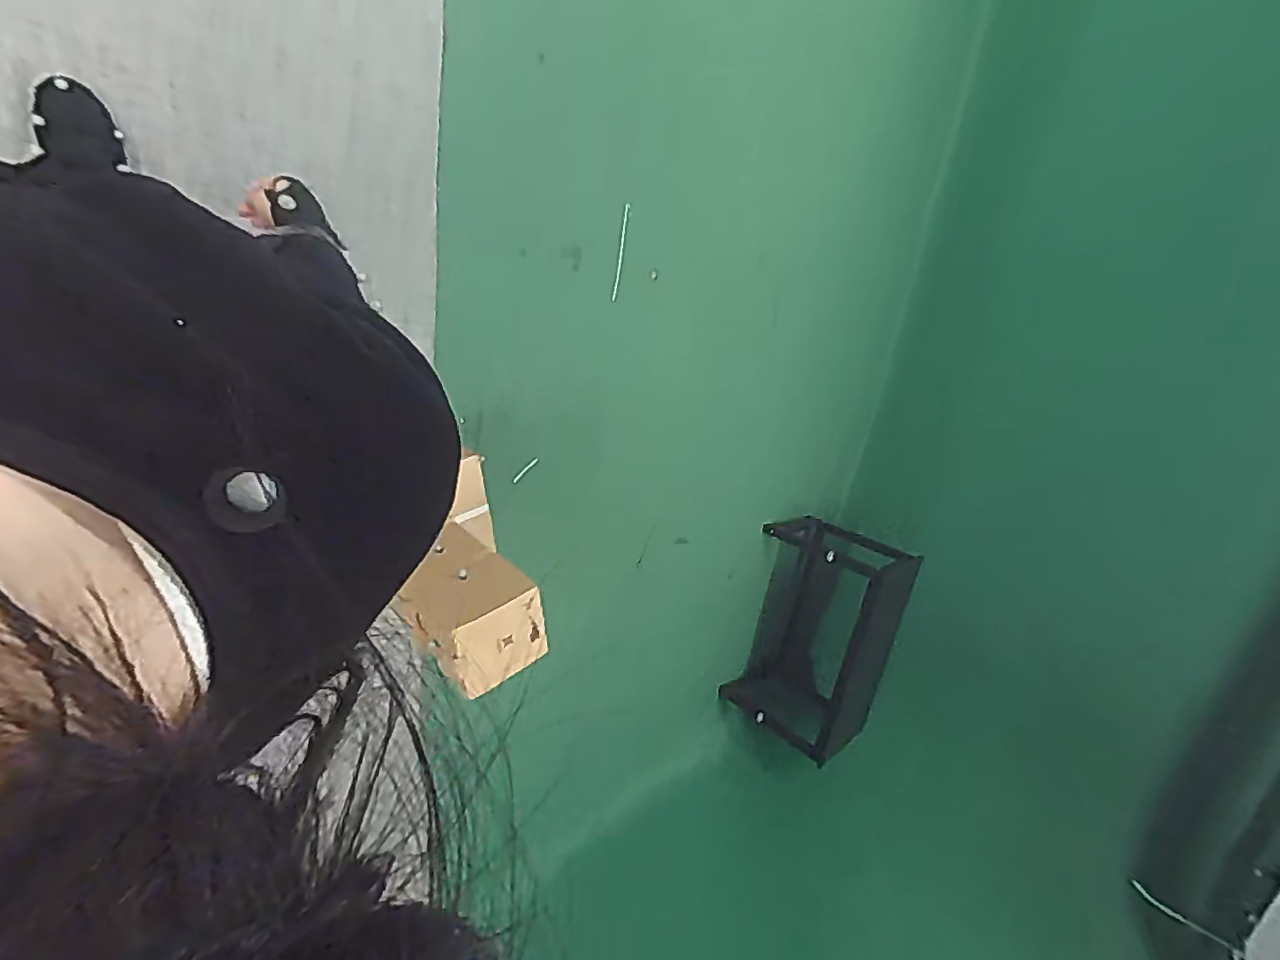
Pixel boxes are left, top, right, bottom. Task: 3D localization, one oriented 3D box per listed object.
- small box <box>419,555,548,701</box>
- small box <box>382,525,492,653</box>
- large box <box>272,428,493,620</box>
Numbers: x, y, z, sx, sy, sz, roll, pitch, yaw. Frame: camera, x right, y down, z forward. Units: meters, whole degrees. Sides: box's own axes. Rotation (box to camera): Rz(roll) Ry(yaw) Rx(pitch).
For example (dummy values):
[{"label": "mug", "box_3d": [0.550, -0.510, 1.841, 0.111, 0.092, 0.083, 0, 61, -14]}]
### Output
[{"label": "small box", "box_3d": [-0.300, 0.270, 1.025, 0.179, 0.176, 0.168, -23, 124, -36]}, {"label": "small box", "box_3d": [-0.416, 0.219, 1.130, 0.179, 0.176, 0.168, -25, 125, -37]}, {"label": "large box", "box_3d": [-0.664, 0.088, 1.430, 0.408, 0.320, 0.320, -26, 126, -38]}]
